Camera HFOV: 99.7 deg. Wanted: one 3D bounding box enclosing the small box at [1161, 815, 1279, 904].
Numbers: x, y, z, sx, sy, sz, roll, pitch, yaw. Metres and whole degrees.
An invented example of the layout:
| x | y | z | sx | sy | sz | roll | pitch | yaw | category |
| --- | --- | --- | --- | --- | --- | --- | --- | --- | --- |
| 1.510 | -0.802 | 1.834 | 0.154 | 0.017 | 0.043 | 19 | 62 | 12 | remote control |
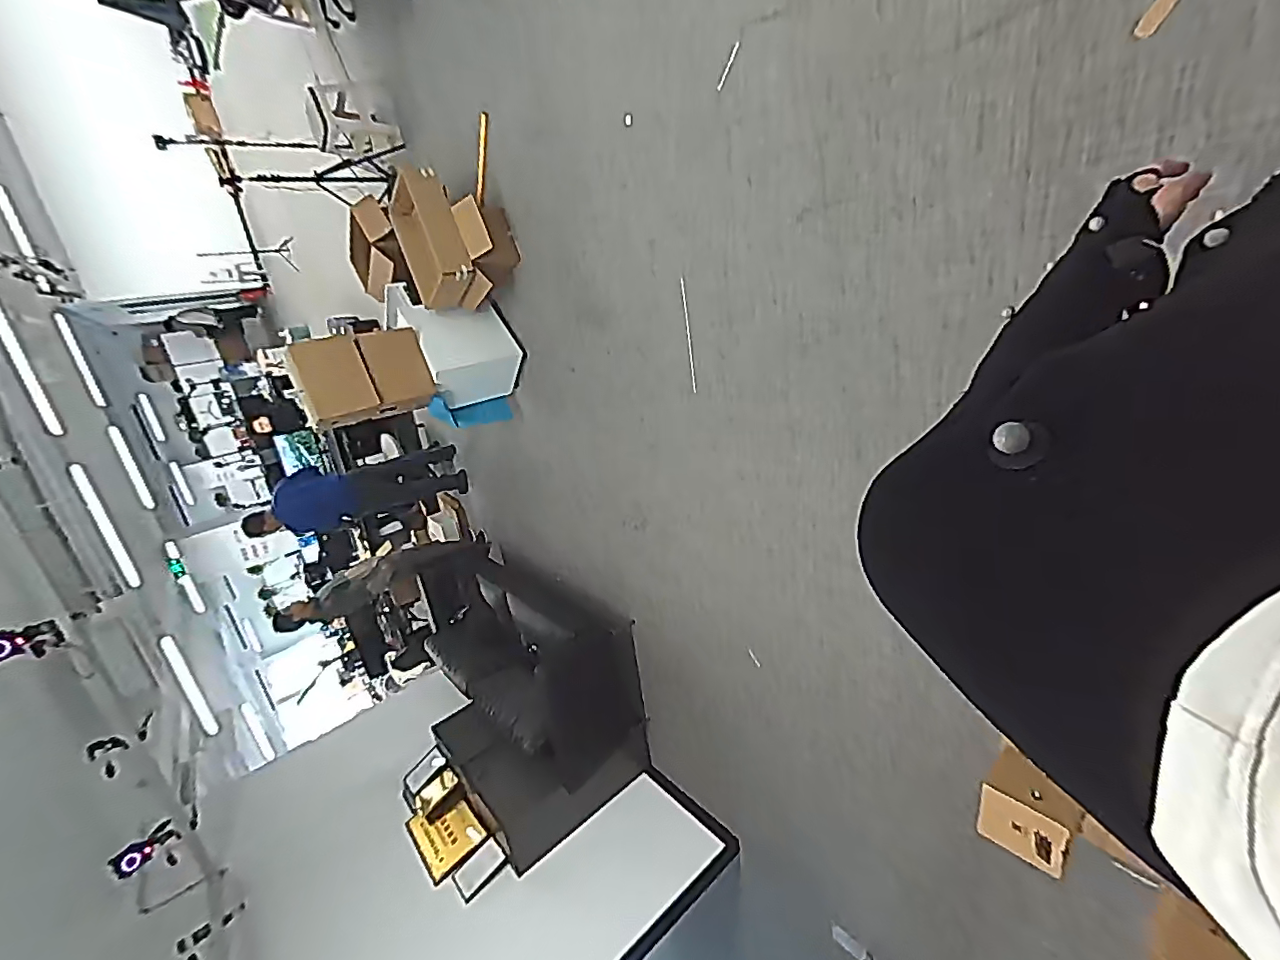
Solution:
| x | y | z | sx | sy | sz | roll | pitch | yaw | category |
| --- | --- | --- | --- | --- | --- | --- | --- | --- | --- |
| 1.452 | 0.975 | 1.340 | 0.179 | 0.176 | 0.168 | 26 | 128 | 43 | small box |

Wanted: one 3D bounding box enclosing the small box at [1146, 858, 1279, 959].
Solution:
| x | y | z | sx | sy | sz | roll | pitch | yaw | category |
| --- | --- | --- | --- | --- | --- | --- | --- | --- | --- |
| 1.325 | 1.020 | 1.244 | 0.179 | 0.176 | 0.168 | 25 | 128 | 43 | small box |

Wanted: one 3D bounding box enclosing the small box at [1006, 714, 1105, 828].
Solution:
| x | y | z | sx | sy | sz | roll | pitch | yaw | category |
| --- | --- | --- | --- | --- | --- | --- | --- | --- | --- |
| 1.085 | 0.750 | 1.422 | 0.179 | 0.176 | 0.168 | 15 | 119 | 47 | small box |

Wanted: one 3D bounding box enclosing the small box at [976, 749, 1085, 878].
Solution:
| x | y | z | sx | sy | sz | roll | pitch | yaw | category |
| --- | --- | --- | --- | --- | --- | --- | --- | --- | --- |
| 0.961 | 0.806 | 1.329 | 0.179 | 0.176 | 0.168 | 16 | 119 | 47 | small box |
